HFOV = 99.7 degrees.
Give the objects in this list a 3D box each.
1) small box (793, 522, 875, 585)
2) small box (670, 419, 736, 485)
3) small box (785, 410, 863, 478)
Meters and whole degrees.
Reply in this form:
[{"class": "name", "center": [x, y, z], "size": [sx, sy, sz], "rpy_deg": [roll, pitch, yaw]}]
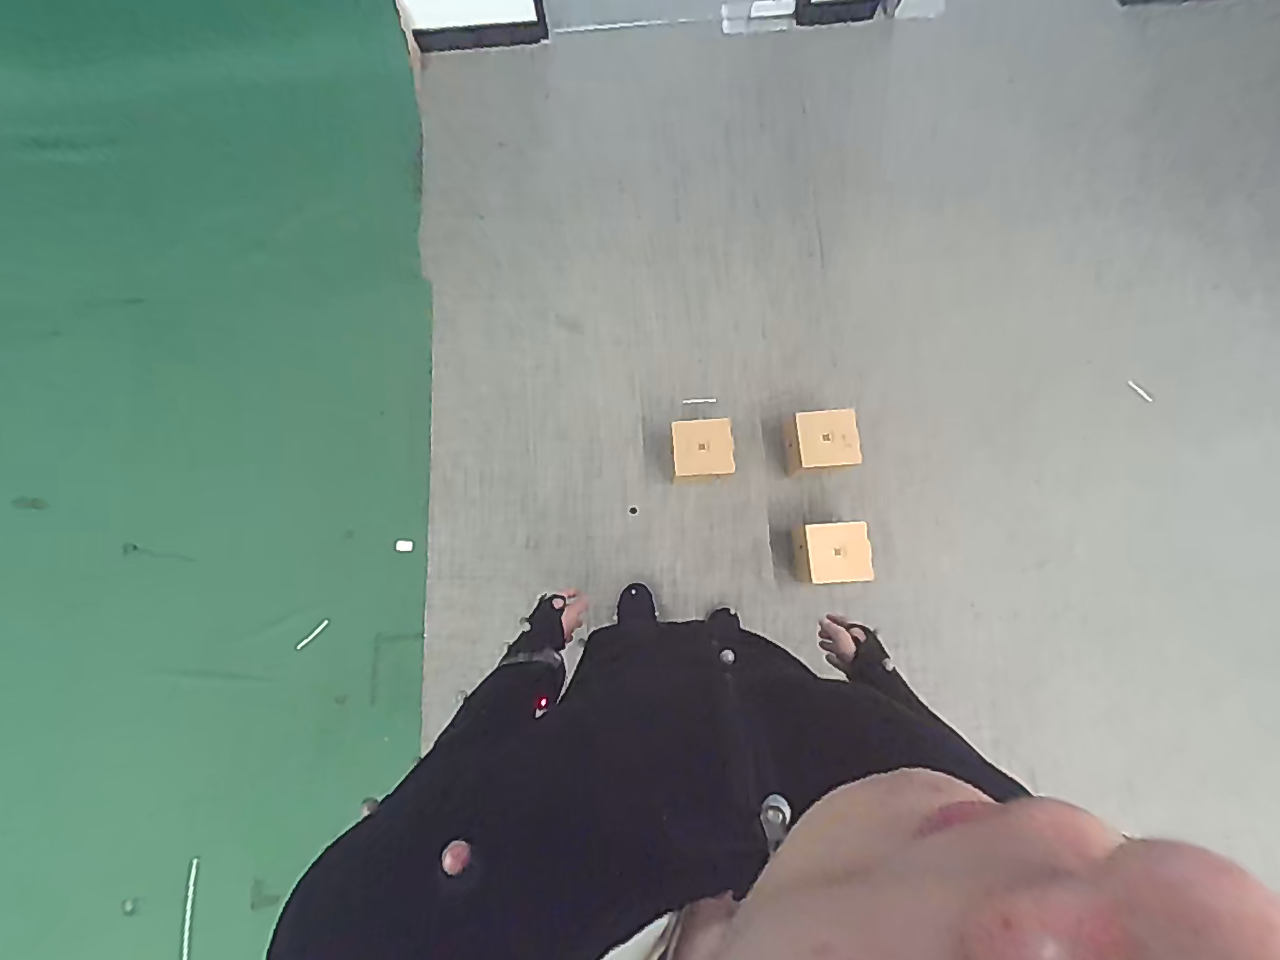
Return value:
[{"class": "small box", "center": [0.552, 0.217, 1.566], "size": [0.179, 0.176, 0.168], "rpy_deg": [-4, 79, -1]}, {"class": "small box", "center": [0.185, -0.080, 1.624], "size": [0.179, 0.176, 0.168], "rpy_deg": [-3, 79, 1]}, {"class": "small box", "center": [0.542, -0.104, 1.621], "size": [0.179, 0.176, 0.168], "rpy_deg": [-4, 80, 0]}]
